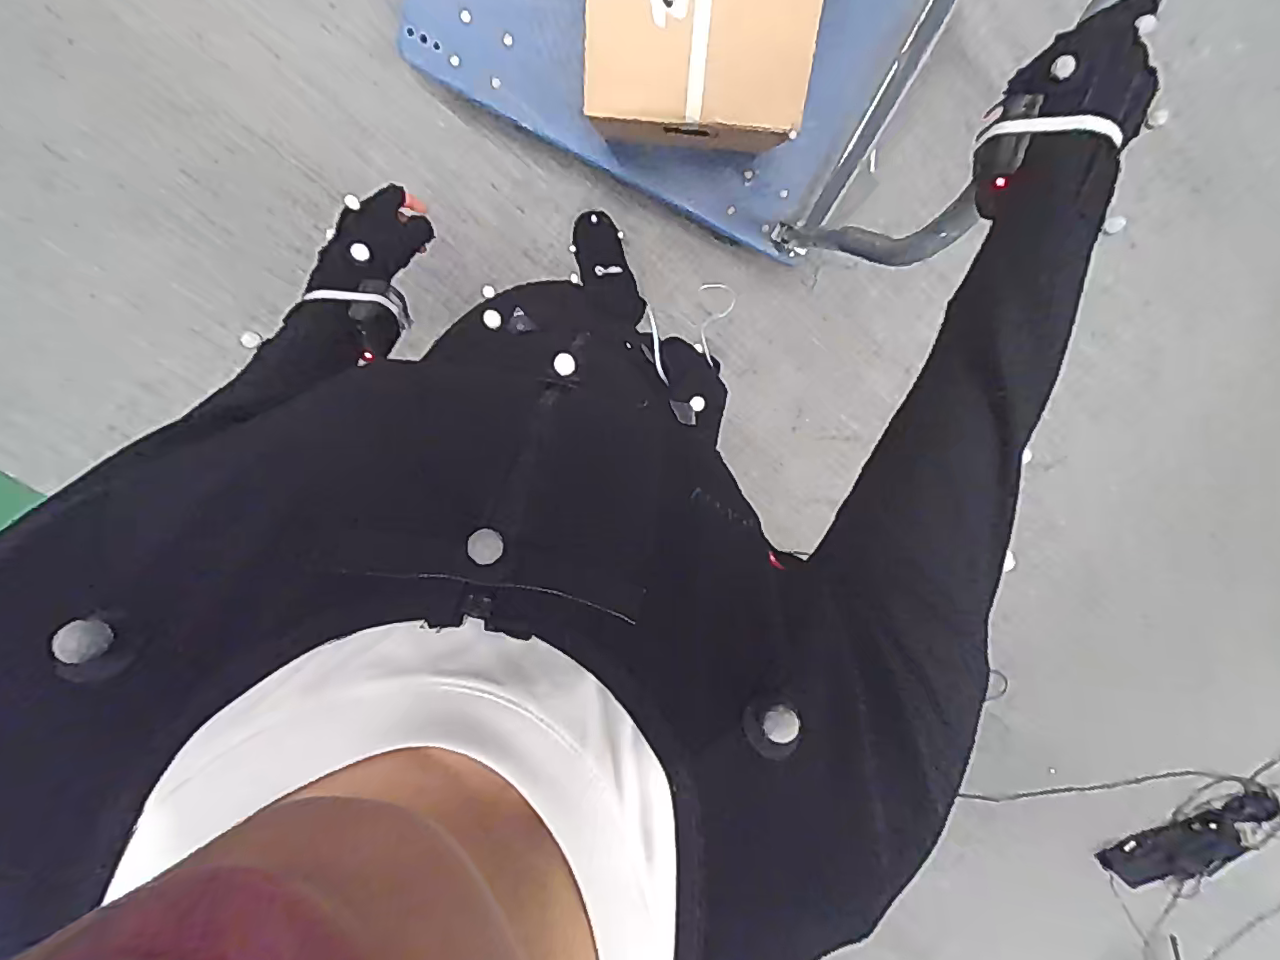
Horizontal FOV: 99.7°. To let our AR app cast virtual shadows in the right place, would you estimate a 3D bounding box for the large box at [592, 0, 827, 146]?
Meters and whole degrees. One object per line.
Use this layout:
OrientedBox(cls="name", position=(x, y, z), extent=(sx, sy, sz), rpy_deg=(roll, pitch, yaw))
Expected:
OrientedBox(cls="large box", position=(0.099, -0.758, 0.813), extent=(0.320, 0.320, 0.408), rpy_deg=(5, 118, 0))
